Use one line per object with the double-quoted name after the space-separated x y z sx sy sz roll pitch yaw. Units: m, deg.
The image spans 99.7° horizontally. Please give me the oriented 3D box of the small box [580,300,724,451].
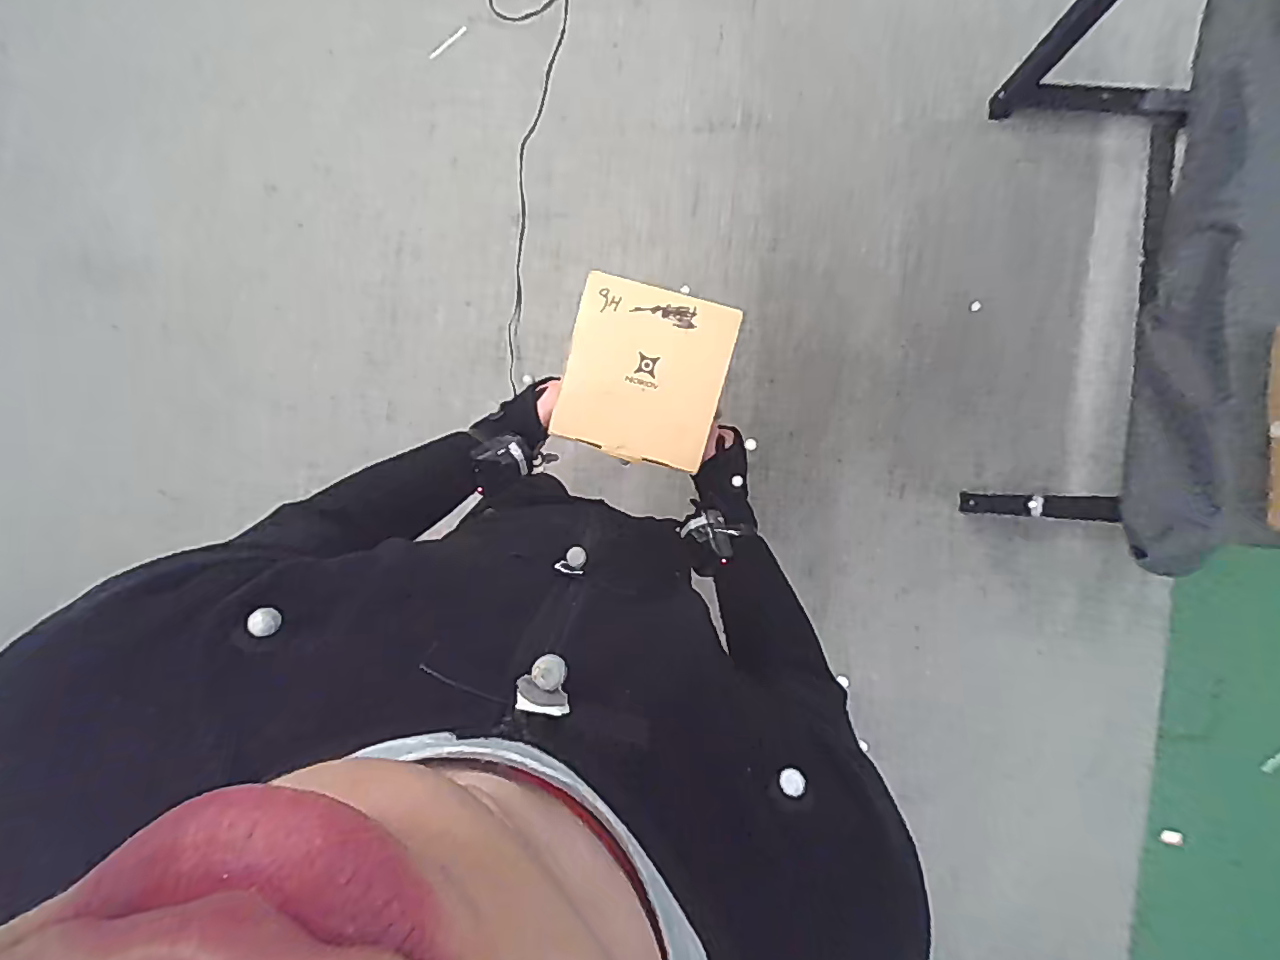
0.020 -0.145 0.805 0.168 0.176 0.179 12 94 2 "small box"
